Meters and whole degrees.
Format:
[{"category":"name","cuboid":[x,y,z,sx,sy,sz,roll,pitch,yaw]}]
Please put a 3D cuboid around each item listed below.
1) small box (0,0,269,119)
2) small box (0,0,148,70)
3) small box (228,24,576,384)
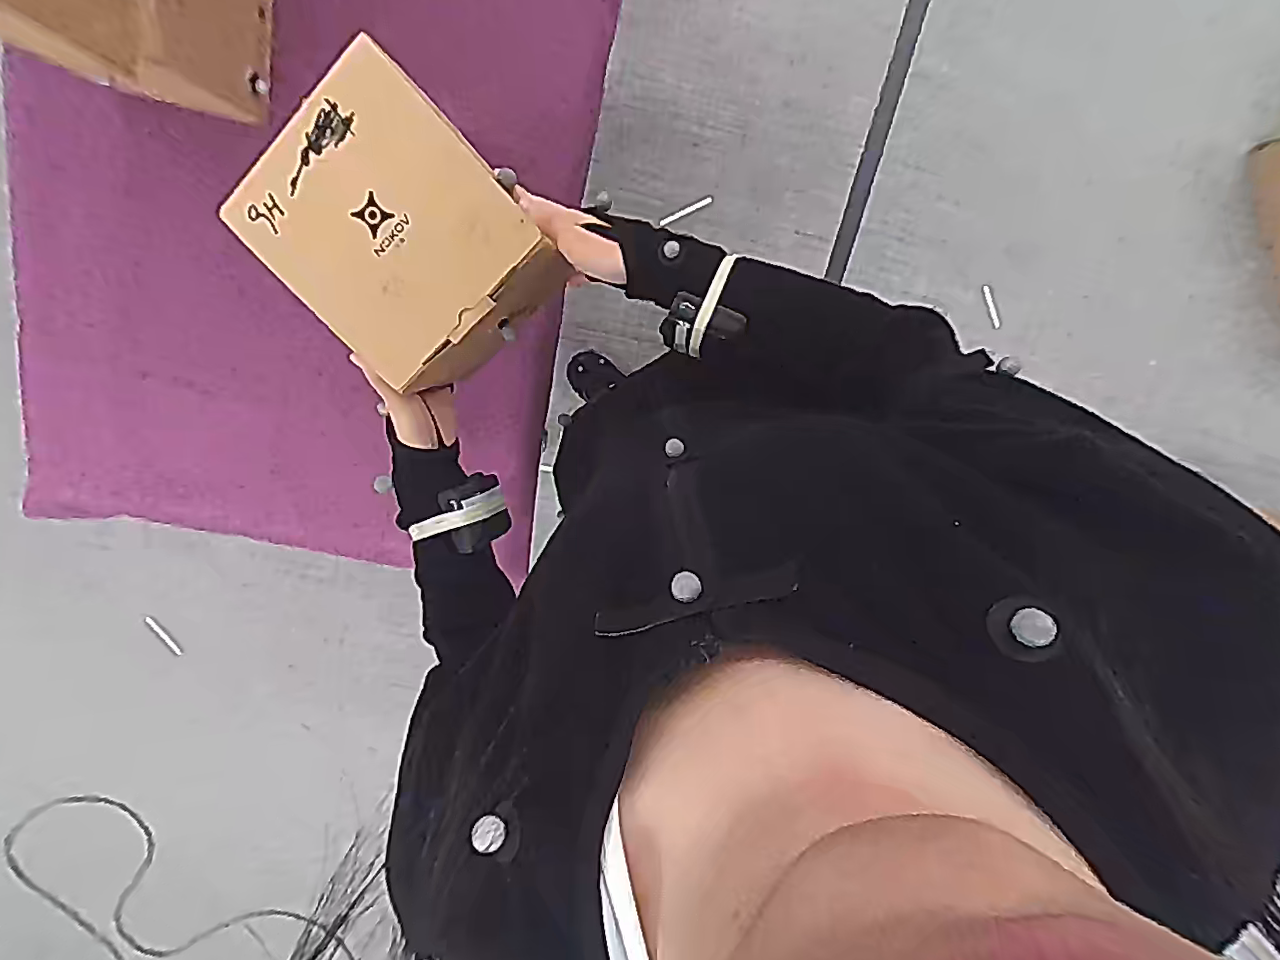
[{"category":"small box","cuboid":[-0.480,-0.469,0.504,0.179,0.176,0.168,11,105,-7]},{"category":"small box","cuboid":[-0.477,-0.412,0.351,0.179,0.176,0.168,13,104,-9]},{"category":"small box","cuboid":[-0.172,-0.207,0.458,0.168,0.176,0.179,-41,101,10]}]
